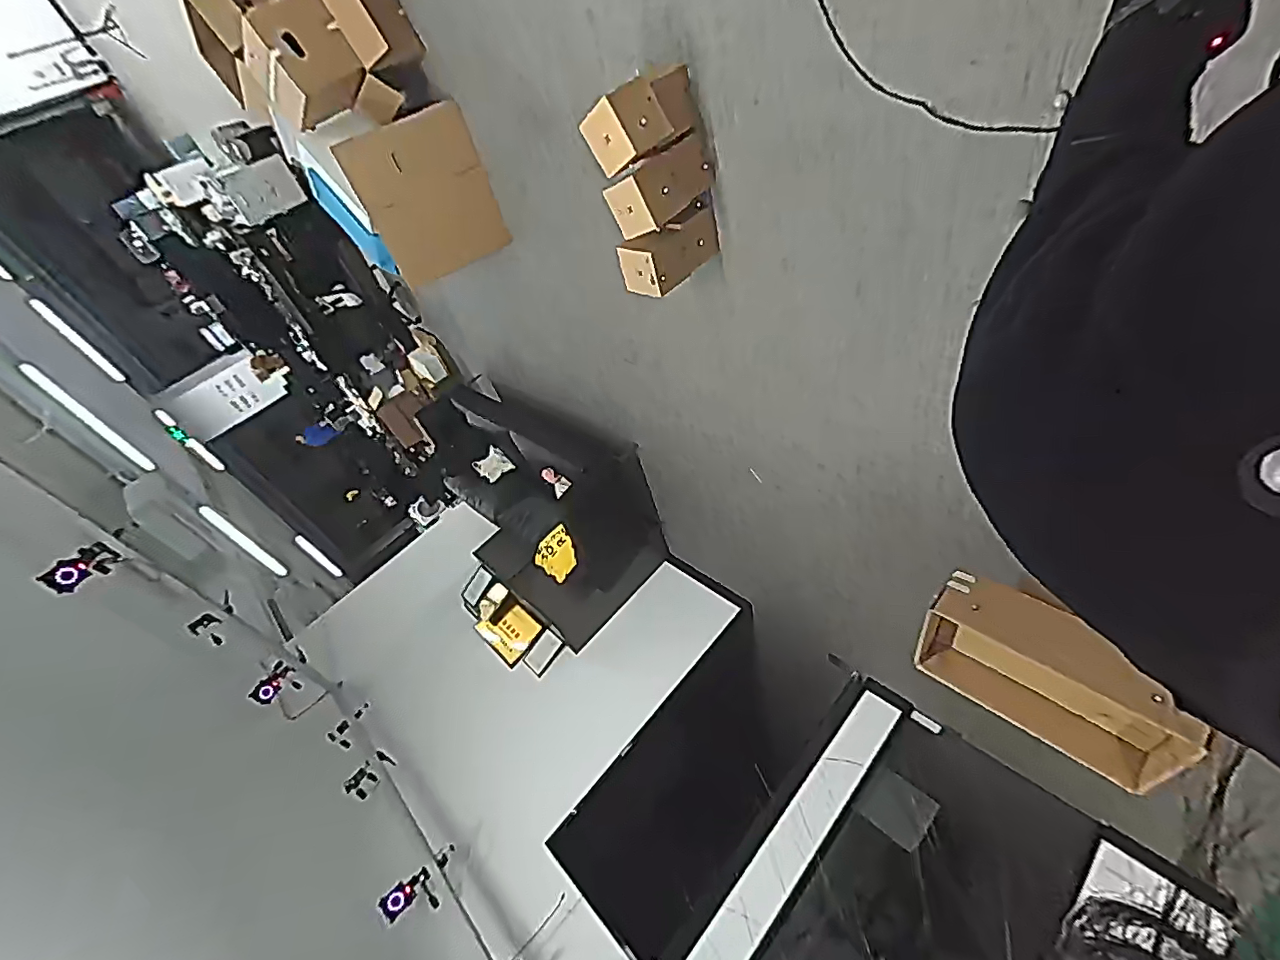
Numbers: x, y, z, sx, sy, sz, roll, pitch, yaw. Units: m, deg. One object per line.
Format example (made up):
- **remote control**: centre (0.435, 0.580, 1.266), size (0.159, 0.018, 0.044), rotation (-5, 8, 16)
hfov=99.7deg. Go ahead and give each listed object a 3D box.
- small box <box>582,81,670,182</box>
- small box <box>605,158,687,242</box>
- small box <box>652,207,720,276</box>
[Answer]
- **small box**: centre (-0.035, -1.035, 1.608), size (0.168, 0.176, 0.179), rotation (56, 157, -20)
- **small box**: centre (0.027, -0.897, 1.735), size (0.179, 0.176, 0.168), rotation (14, 141, 54)
- **small box**: centre (0.167, -0.870, 1.959), size (0.168, 0.176, 0.179), rotation (28, 152, 40)
